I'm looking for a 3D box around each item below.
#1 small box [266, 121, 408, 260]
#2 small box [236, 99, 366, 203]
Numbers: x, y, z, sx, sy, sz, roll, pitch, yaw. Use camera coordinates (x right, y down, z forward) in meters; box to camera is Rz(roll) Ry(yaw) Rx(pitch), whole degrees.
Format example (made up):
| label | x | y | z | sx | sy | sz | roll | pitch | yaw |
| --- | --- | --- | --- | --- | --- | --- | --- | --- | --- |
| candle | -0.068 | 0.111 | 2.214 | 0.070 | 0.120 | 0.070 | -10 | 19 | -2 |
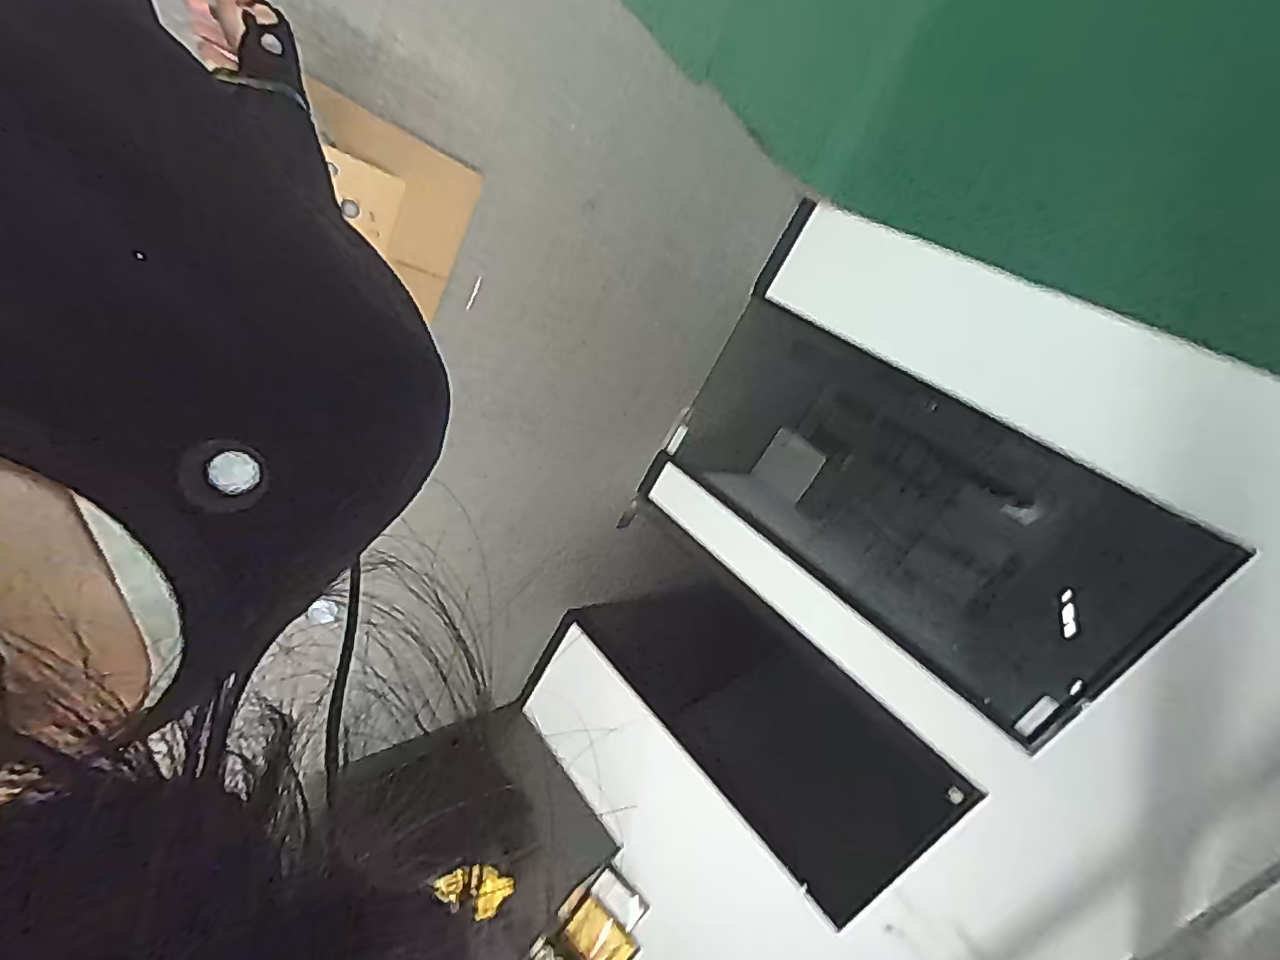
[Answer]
| label | x | y | z | sx | sy | sz | roll | pitch | yaw |
| --- | --- | --- | --- | --- | --- | --- | --- | --- | --- |
| small box | -0.593 | -0.562 | 1.050 | 0.179 | 0.176 | 0.168 | -1 | 127 | -54 |
| small box | -0.706 | -0.656 | 1.125 | 0.179 | 0.176 | 0.168 | -2 | 127 | -54 |
